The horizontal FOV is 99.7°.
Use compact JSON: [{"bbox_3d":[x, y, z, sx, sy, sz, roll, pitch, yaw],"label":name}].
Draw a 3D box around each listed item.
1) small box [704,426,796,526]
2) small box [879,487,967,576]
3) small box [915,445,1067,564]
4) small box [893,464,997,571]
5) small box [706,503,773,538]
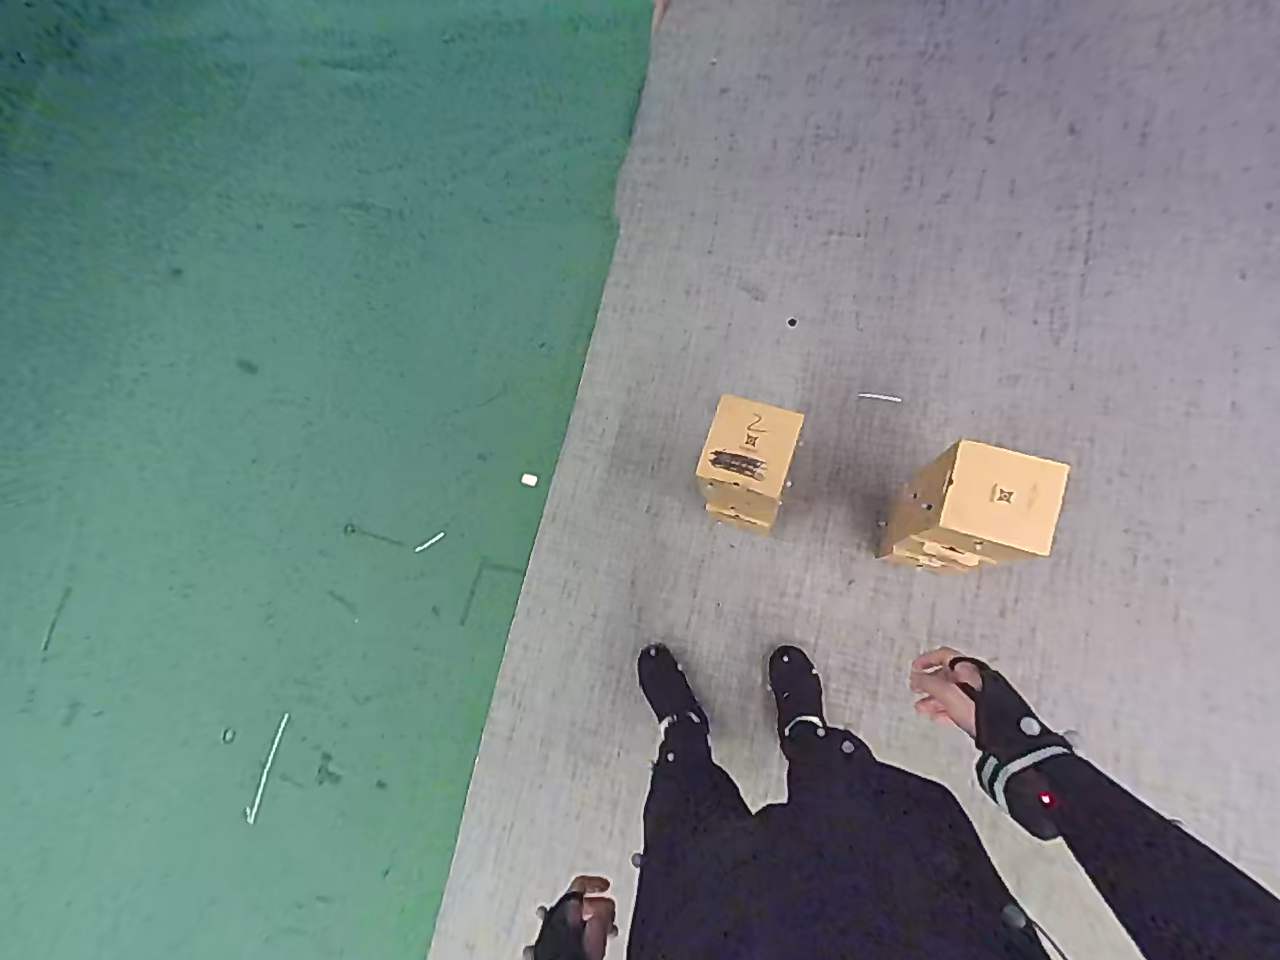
[{"bbox_3d":[0.259,-0.004,1.278,0.168,0.176,0.179,16,82,15],"label":"small box"},{"bbox_3d":[0.698,0.132,1.321,0.168,0.176,0.179,13,81,15],"label":"small box"},{"bbox_3d":[0.639,0.053,1.009,0.179,0.176,0.168,17,82,15],"label":"small box"},{"bbox_3d":[0.667,0.087,1.166,0.168,0.176,0.179,17,81,16],"label":"small box"},{"bbox_3d":[0.287,0.047,1.447,0.168,0.176,0.179,16,81,15],"label":"small box"}]
